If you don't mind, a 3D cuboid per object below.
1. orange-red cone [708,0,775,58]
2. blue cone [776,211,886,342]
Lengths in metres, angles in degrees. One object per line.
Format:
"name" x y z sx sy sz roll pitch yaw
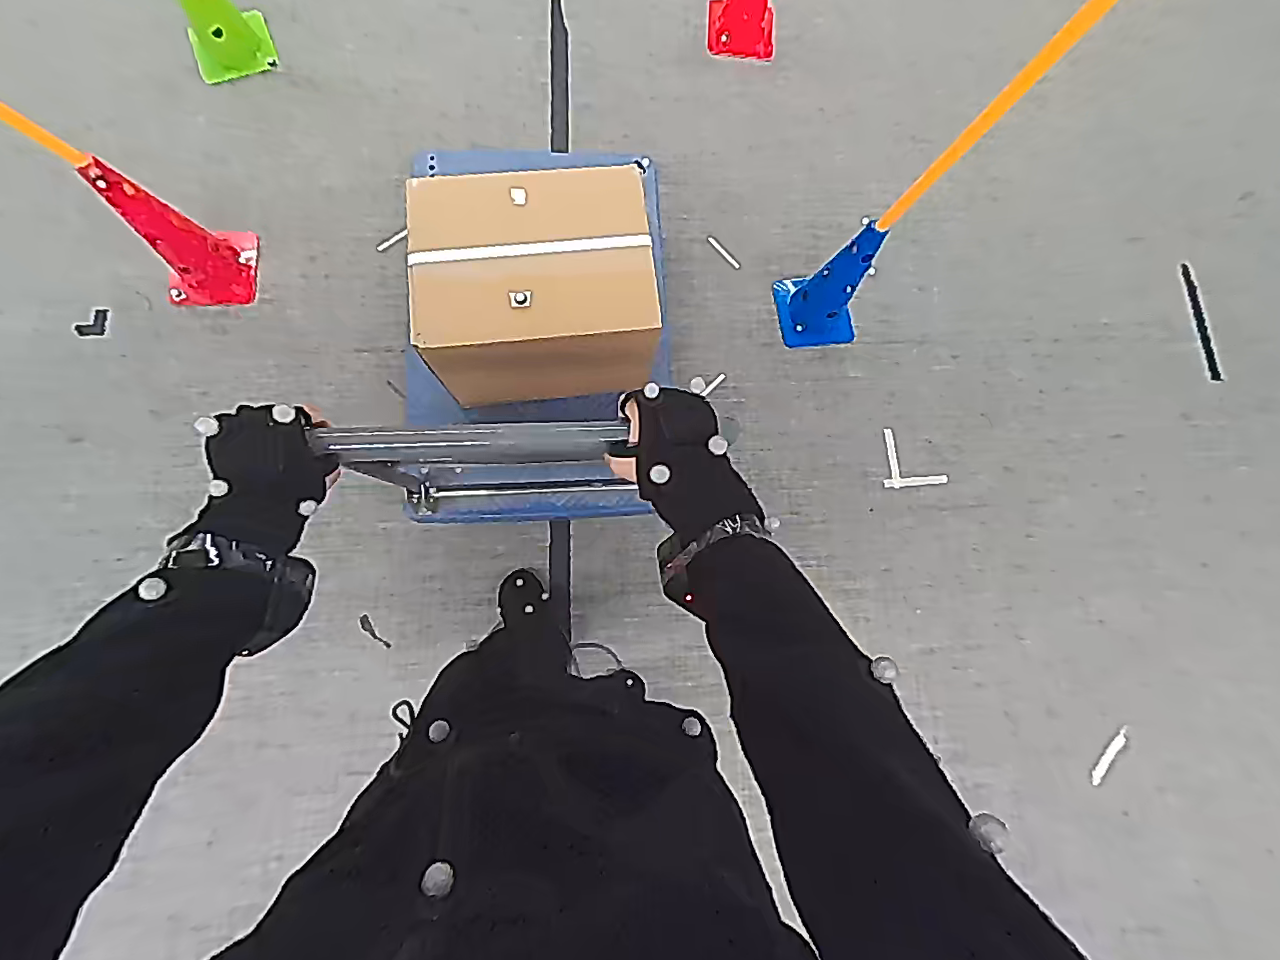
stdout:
"orange-red cone" 0.320 -1.383 1.446 0.199 0.360 0.198 5 79 -5
"blue cone" 0.484 -0.498 1.305 0.193 0.380 0.192 -6 79 -6
